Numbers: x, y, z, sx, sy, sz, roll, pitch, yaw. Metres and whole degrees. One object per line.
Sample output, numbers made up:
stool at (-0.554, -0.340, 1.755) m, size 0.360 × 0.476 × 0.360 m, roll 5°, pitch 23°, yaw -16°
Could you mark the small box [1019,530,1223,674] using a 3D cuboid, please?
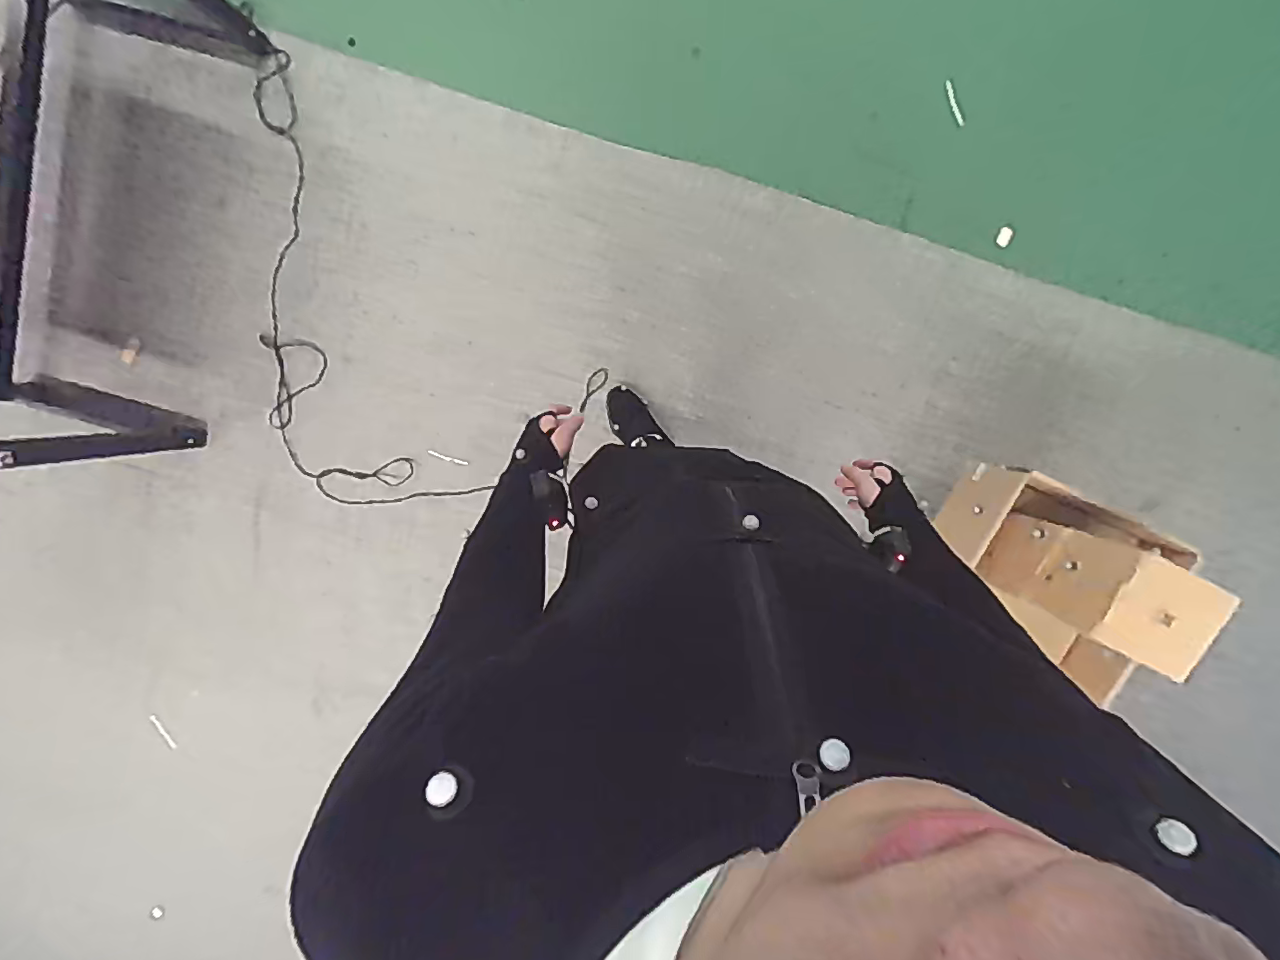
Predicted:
small box at (0.850, 0.208, 0.975) m, size 0.179 × 0.176 × 0.168 m, roll 26°, pitch 100°, yaw -3°
